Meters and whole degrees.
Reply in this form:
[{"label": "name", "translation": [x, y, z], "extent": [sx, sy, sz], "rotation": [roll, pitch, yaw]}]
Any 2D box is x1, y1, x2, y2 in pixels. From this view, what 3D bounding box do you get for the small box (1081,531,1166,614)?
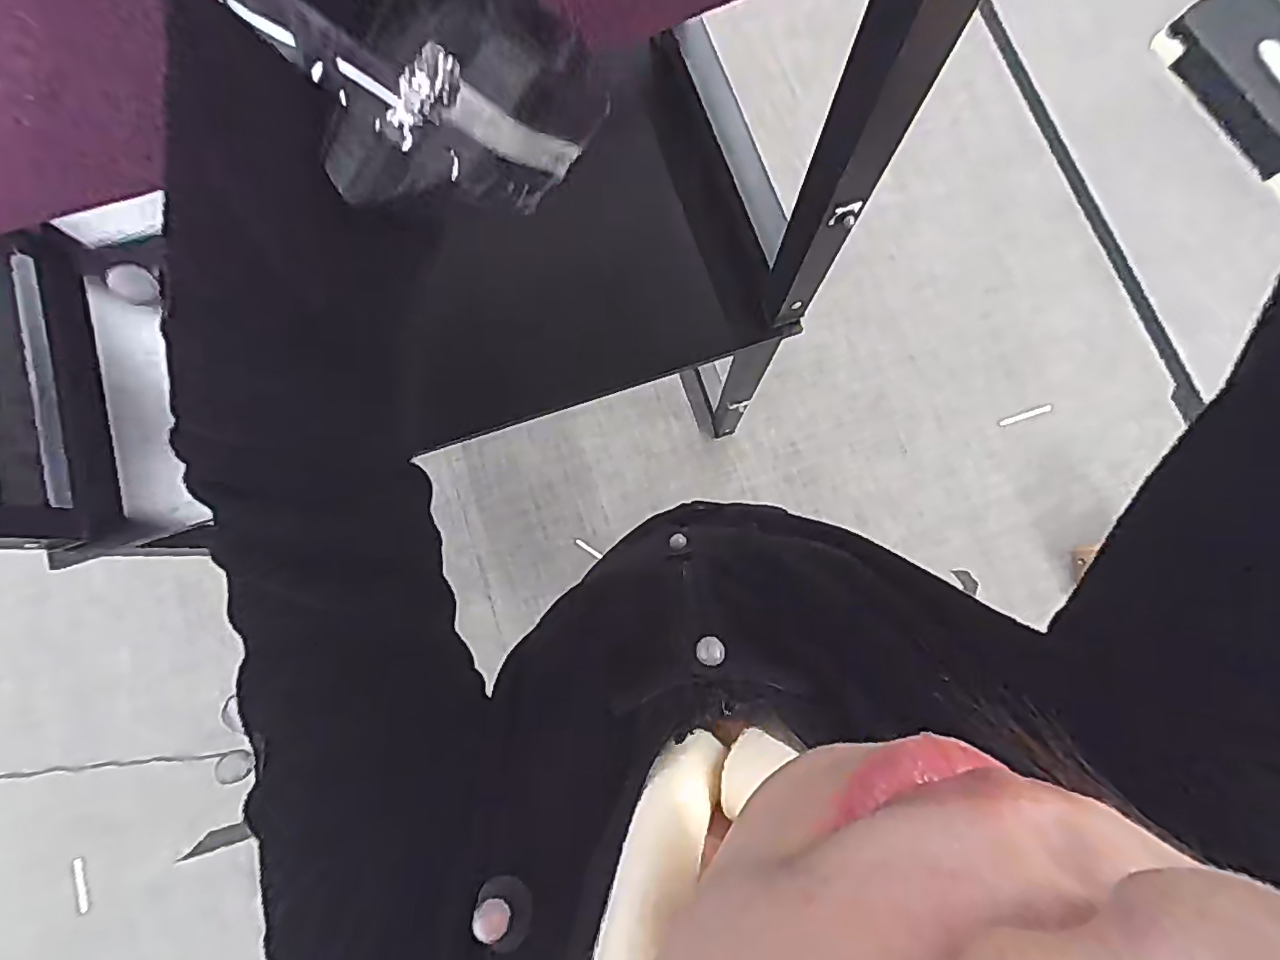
[{"label": "small box", "translation": [1.270, 0.232, 1.366], "extent": [0.179, 0.176, 0.168], "rotation": [-16, 82, -1]}]
